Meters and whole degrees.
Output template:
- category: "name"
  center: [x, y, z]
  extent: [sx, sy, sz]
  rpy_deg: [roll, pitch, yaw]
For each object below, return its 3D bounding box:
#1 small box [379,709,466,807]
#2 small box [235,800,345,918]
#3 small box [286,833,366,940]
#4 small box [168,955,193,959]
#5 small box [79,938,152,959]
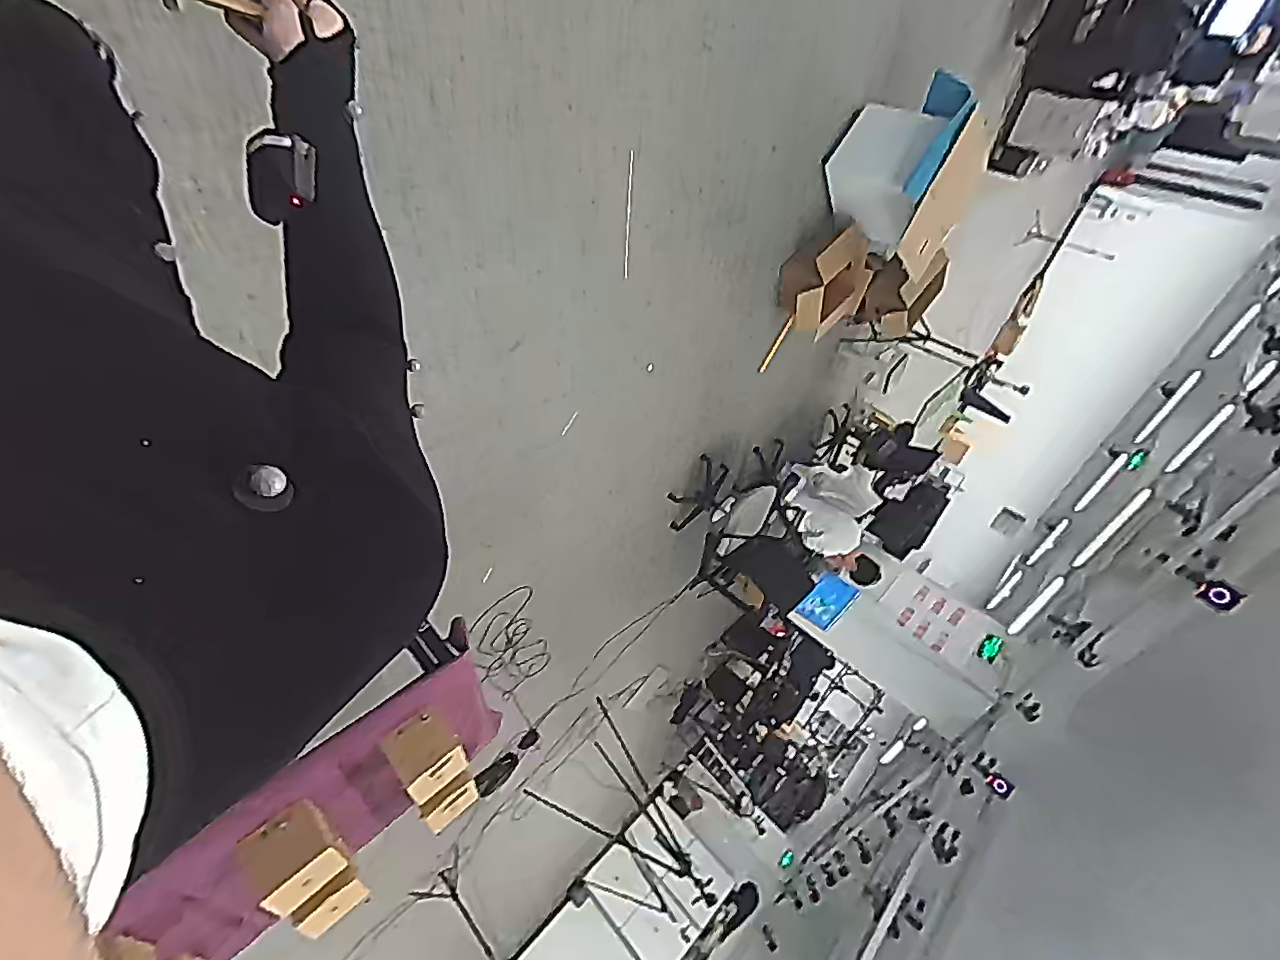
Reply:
- category: "small box"
  center: [-0.640, 0.812, 1.593]
  extent: [0.168, 0.176, 0.179]
  rpy_deg: [-32, 146, -32]
- category: "small box"
  center: [-0.899, 0.970, 1.394]
  extent: [0.168, 0.176, 0.179]
  rpy_deg: [-31, 145, -35]
- category: "small box"
  center: [-0.932, 1.176, 1.573]
  extent: [0.168, 0.176, 0.179]
  rpy_deg: [-30, 143, -35]
- category: "small box"
  center: [-1.204, 1.359, 1.368]
  extent: [0.168, 0.176, 0.179]
  rpy_deg: [-33, 144, -36]
- category: "small box"
  center: [-1.182, 1.150, 1.174]
  extent: [0.168, 0.176, 0.179]
  rpy_deg: [-32, 147, -36]
